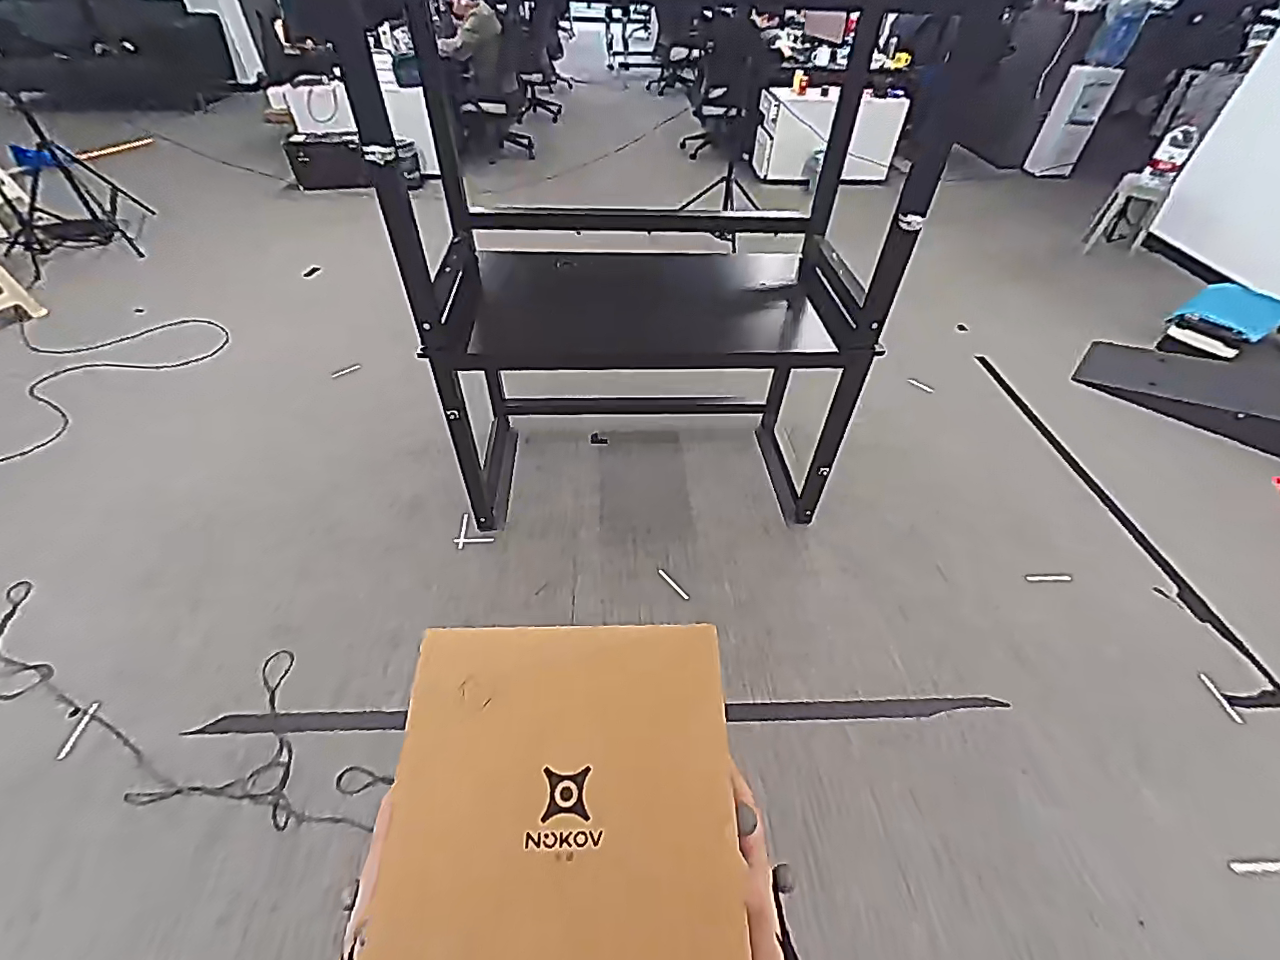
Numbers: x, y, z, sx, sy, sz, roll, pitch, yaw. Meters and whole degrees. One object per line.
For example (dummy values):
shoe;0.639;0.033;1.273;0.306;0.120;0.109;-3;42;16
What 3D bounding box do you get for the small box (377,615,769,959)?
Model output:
small box;-0.032;0.194;0.324;0.168;0.176;0.179;-1;58;-3
